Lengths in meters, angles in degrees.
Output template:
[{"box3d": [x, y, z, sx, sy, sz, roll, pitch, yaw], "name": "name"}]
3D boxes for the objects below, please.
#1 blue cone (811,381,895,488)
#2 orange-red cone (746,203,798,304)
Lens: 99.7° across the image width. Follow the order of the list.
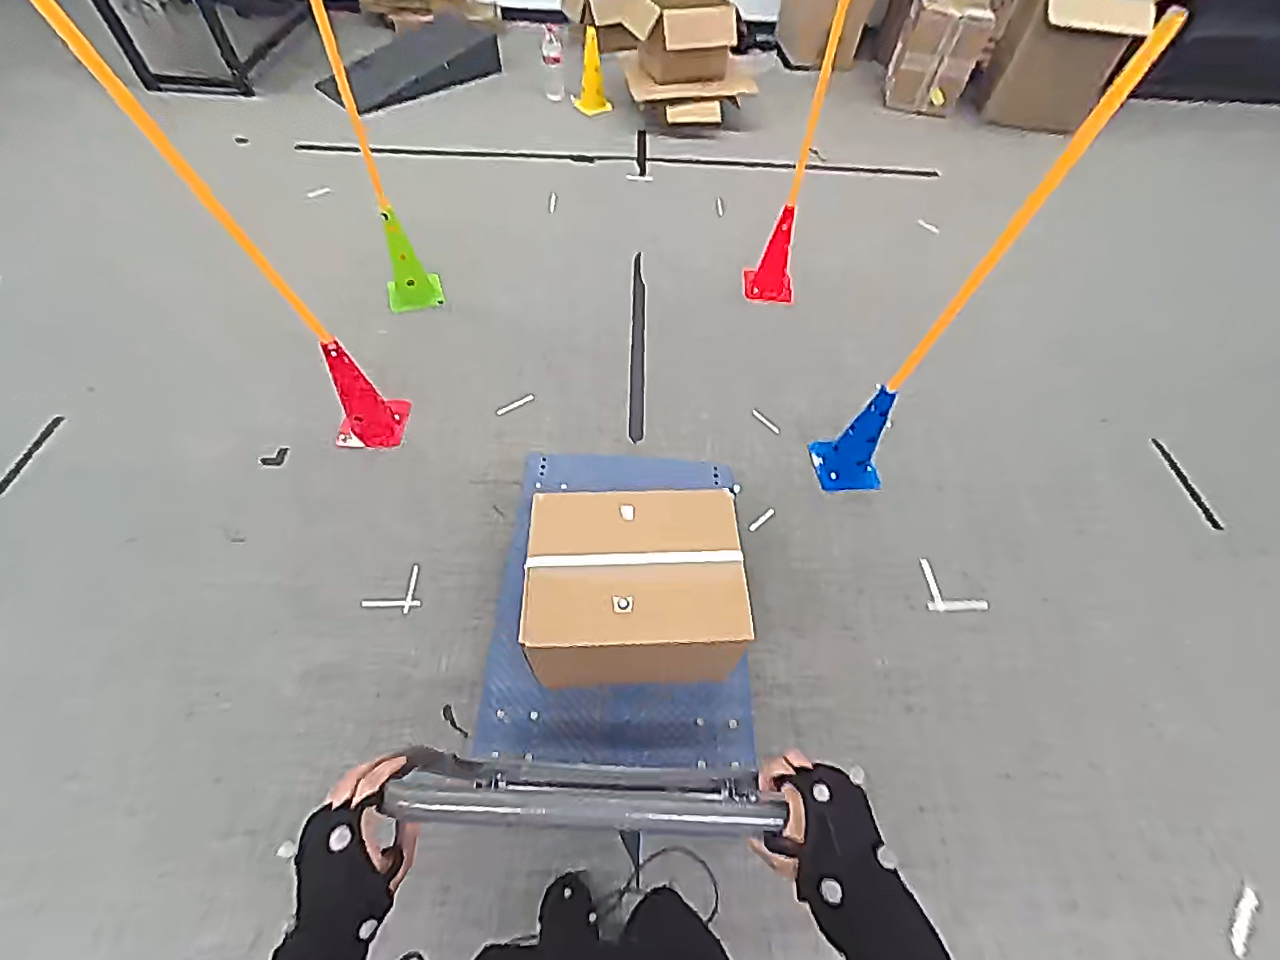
[{"box3d": [0.680, -0.147, 1.638, 0.193, 0.380, 0.192, -2, 55, -5], "name": "blue cone"}, {"box3d": [0.553, -0.907, 2.124, 0.199, 0.360, 0.198, 8, 57, 1], "name": "orange-red cone"}]
